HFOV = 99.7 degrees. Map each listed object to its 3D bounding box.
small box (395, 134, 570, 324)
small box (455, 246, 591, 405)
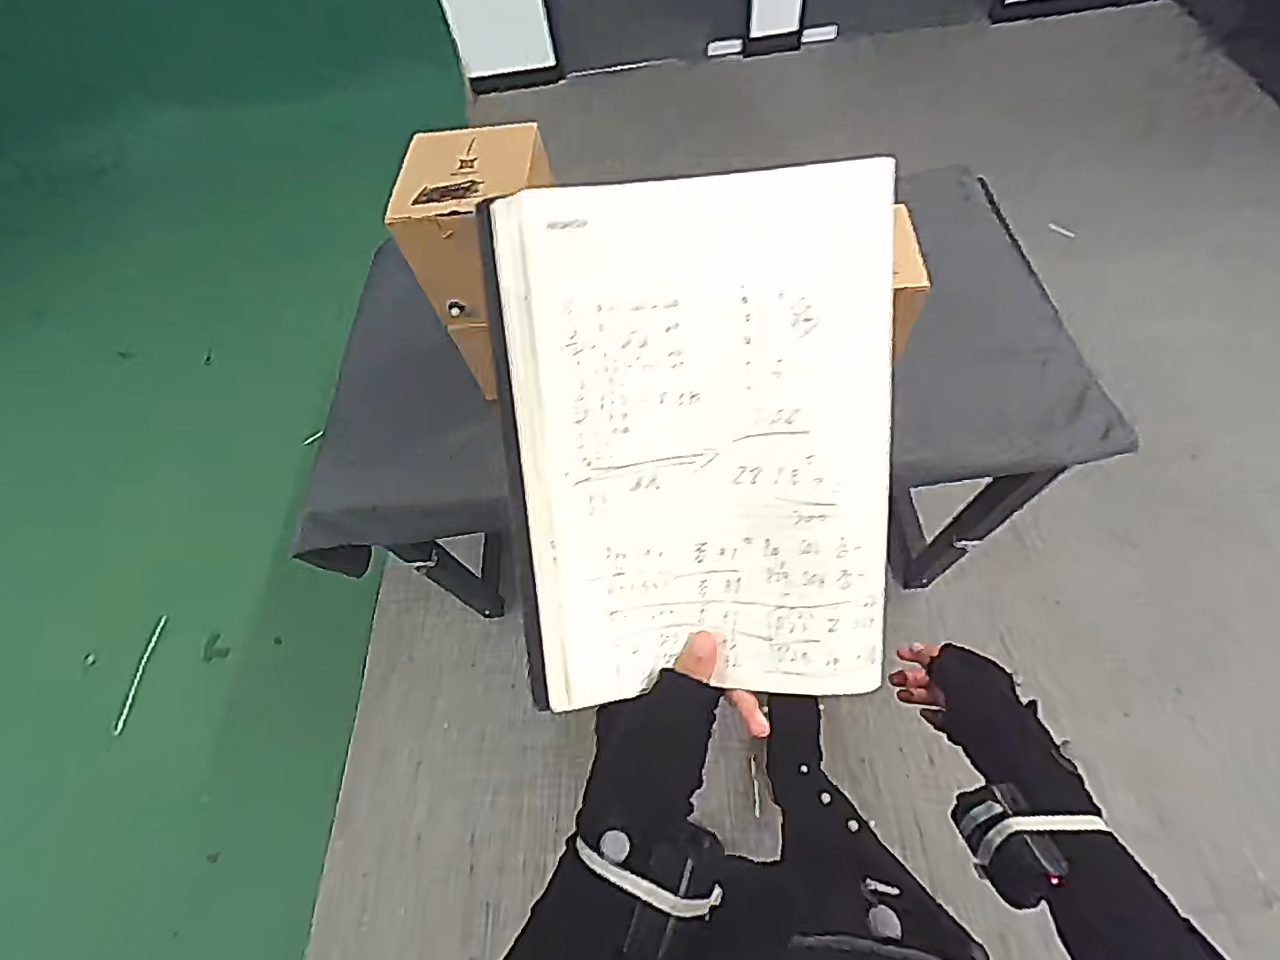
[{"bbox_3d":[-0.195,-0.327,0.730,0.168,0.176,0.179,-2,59,5],"label":"small box"},{"bbox_3d":[-0.175,-0.244,0.870,0.168,0.176,0.179,-4,60,5],"label":"small box"}]
